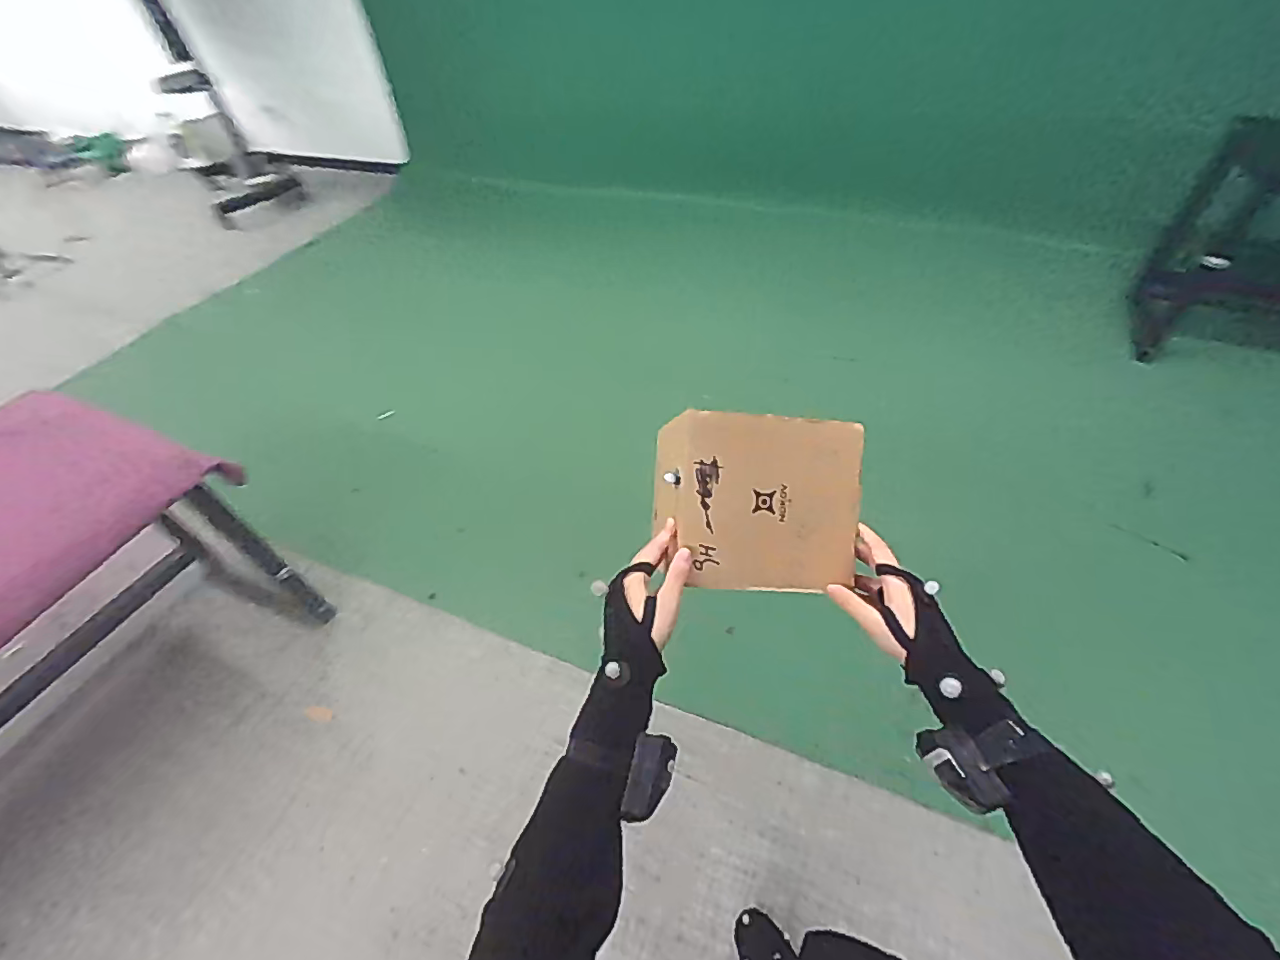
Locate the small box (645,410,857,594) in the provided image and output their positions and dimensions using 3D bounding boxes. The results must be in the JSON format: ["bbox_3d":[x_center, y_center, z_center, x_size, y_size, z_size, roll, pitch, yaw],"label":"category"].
[{"bbox_3d":[0.108,0.025,0.586,0.179,0.176,0.168,4,87,-8],"label":"small box"}]
